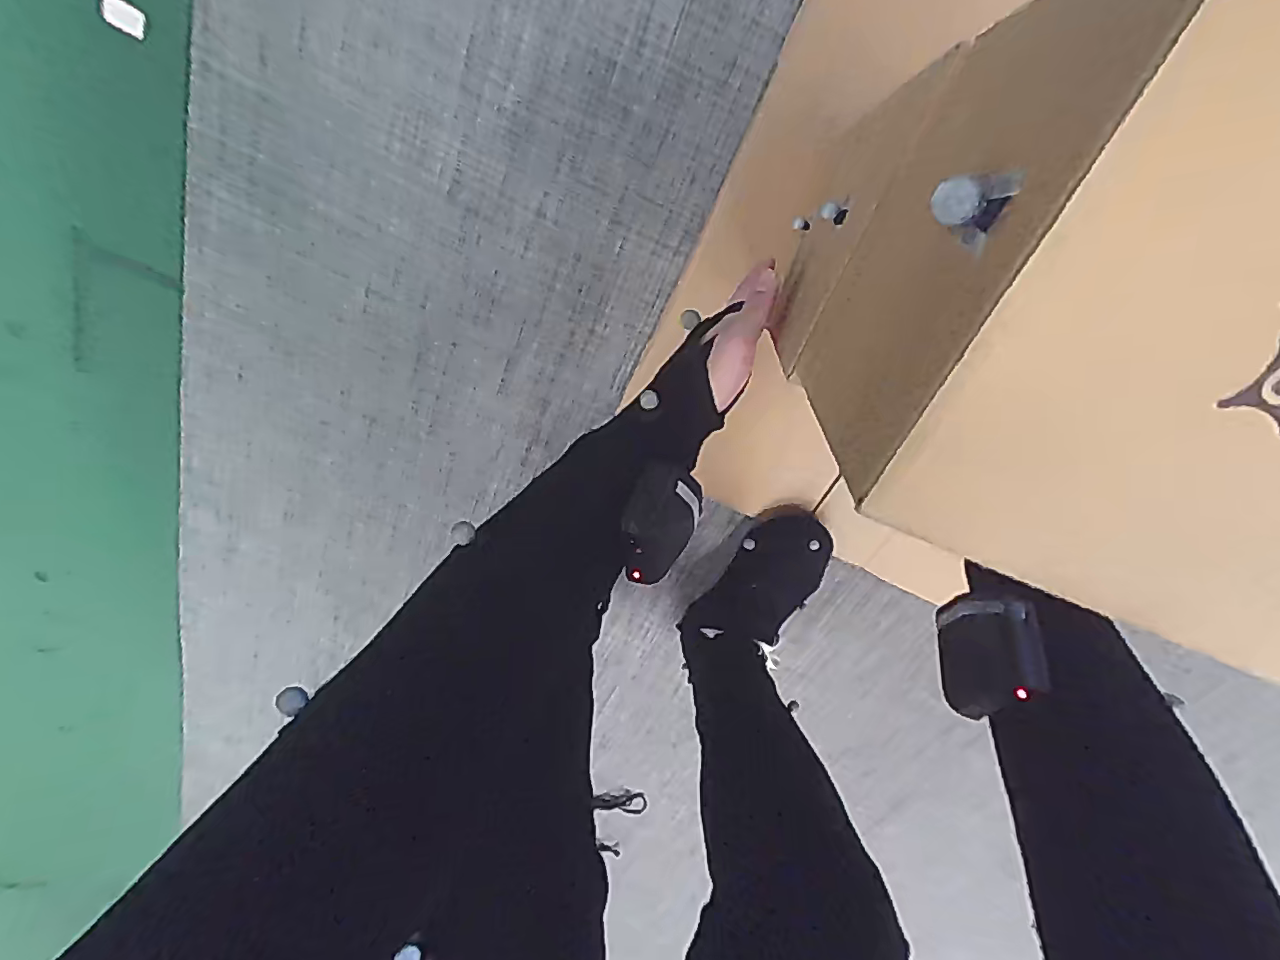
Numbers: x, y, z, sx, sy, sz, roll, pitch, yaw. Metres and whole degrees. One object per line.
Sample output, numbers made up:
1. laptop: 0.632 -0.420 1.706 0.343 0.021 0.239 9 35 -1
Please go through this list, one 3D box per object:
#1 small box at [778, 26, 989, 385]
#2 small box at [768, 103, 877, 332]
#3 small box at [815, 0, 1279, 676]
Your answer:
1. small box: 0.203 -0.141 0.358 0.168 0.176 0.179 22 117 -2
2. small box: 0.227 -0.211 0.502 0.168 0.176 0.179 19 118 0
3. small box: 0.186 -0.068 0.213 0.168 0.176 0.179 22 117 -2
